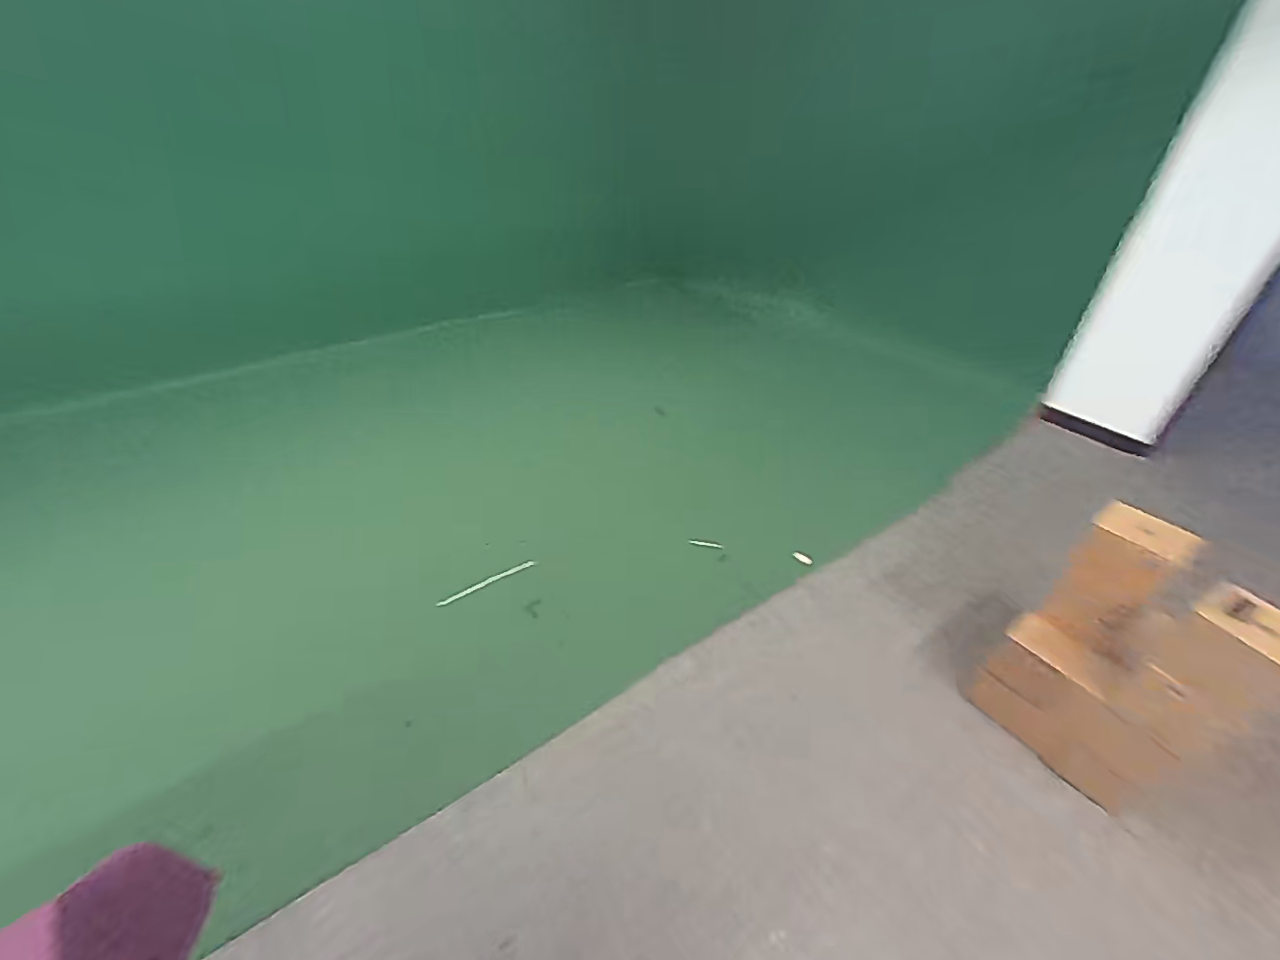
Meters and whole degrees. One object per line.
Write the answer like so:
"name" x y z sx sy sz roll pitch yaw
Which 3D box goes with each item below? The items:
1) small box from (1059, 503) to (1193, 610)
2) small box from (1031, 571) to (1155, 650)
"small box" 1.206 0.190 1.353 0.168 0.176 0.179 -22 43 -30
"small box" 1.202 0.325 1.444 0.168 0.176 0.179 -23 43 -31
